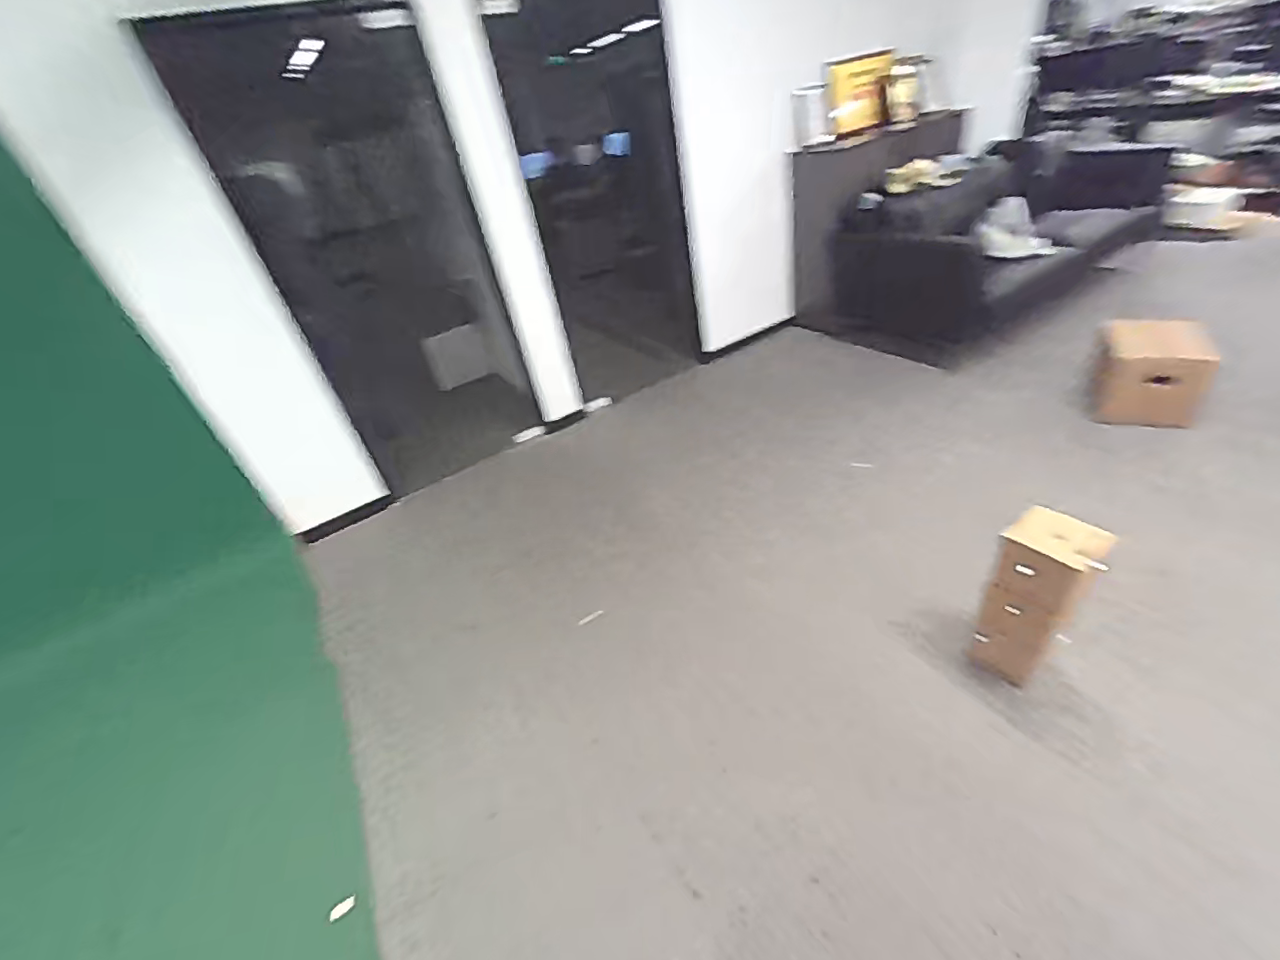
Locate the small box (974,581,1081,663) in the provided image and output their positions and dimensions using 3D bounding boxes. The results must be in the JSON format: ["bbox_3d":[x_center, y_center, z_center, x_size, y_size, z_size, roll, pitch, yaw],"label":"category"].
[{"bbox_3d":[1.045,0.357,1.467,0.168,0.176,0.179,-28,38,-22],"label":"small box"}]

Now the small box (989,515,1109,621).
[{"bbox_3d":[1.027,0.223,1.373,0.168,0.176,0.179,-28,37,-22],"label":"small box"}]
